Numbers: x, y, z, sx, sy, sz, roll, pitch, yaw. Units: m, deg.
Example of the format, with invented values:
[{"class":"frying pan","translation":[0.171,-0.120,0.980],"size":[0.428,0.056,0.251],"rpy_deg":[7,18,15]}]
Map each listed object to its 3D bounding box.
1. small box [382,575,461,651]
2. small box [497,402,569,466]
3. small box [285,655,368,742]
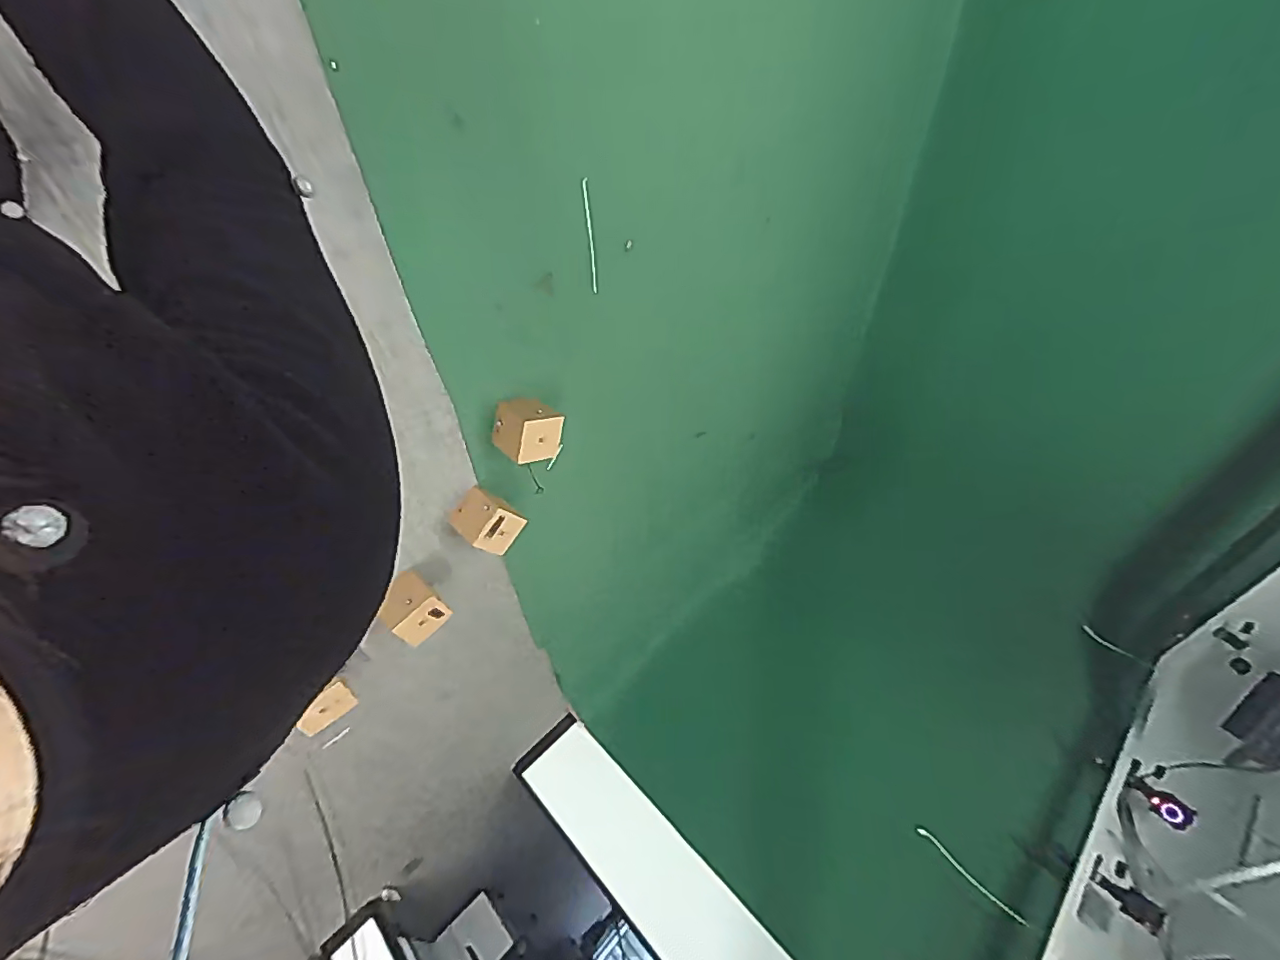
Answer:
[{"class":"small box","translation":[-0.796,0.477,1.962],"size":[0.179,0.176,0.168],"rpy_deg":[-43,145,-18]},{"class":"small box","translation":[-0.385,-0.170,1.936],"size":[0.179,0.176,0.168],"rpy_deg":[-16,130,-46]},{"class":"small box","translation":[-1.070,0.737,1.834],"size":[0.179,0.176,0.168],"rpy_deg":[-36,143,-28]}]
